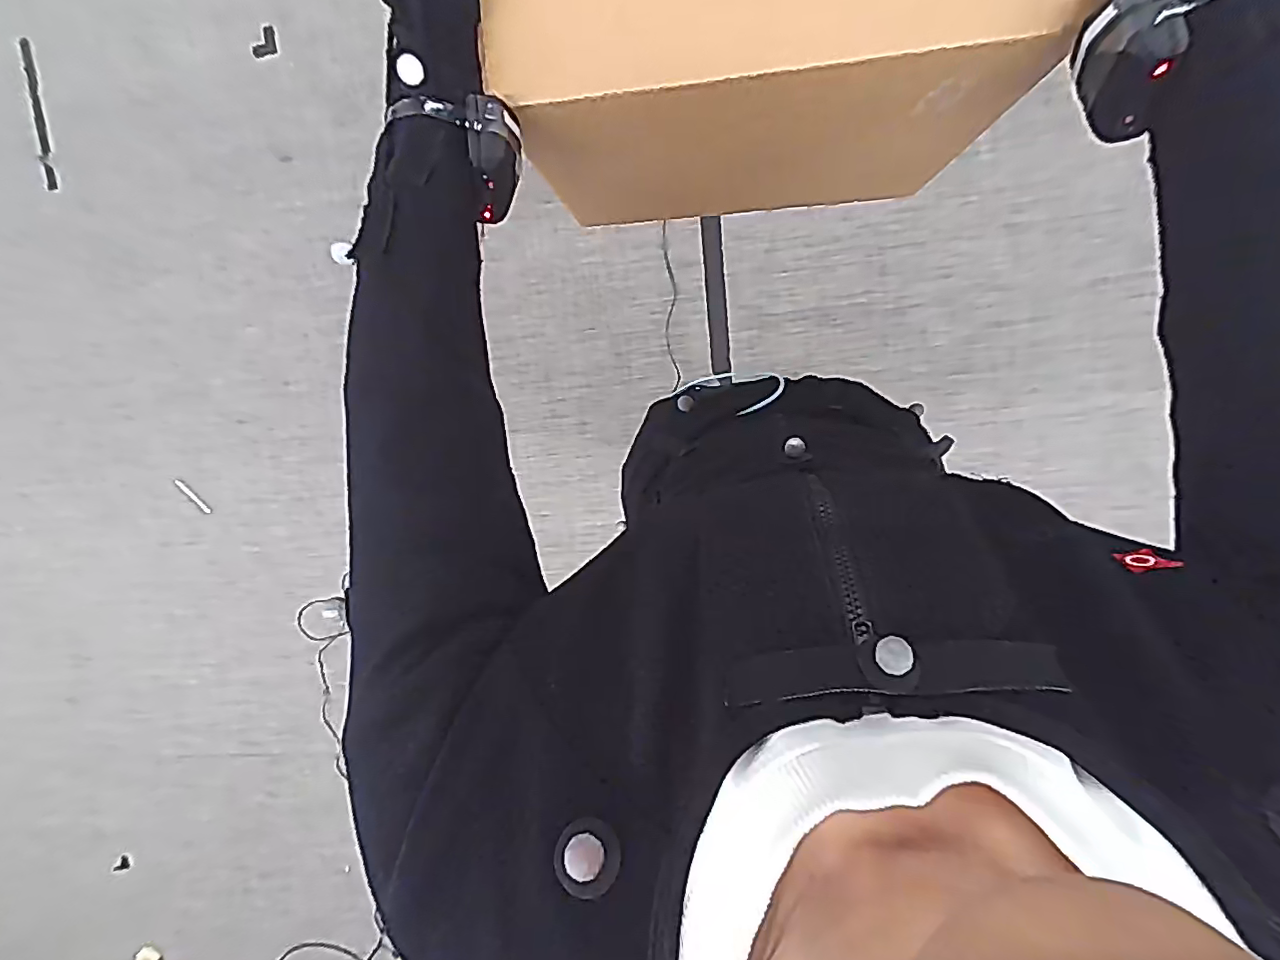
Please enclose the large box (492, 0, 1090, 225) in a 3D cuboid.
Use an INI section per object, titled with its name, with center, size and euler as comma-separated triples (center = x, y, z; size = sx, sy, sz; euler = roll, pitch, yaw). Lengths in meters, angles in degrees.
[large box]
center = 0.097, -0.459, 0.494
size = 0.408, 0.320, 0.320
euler = -3, 100, 6
